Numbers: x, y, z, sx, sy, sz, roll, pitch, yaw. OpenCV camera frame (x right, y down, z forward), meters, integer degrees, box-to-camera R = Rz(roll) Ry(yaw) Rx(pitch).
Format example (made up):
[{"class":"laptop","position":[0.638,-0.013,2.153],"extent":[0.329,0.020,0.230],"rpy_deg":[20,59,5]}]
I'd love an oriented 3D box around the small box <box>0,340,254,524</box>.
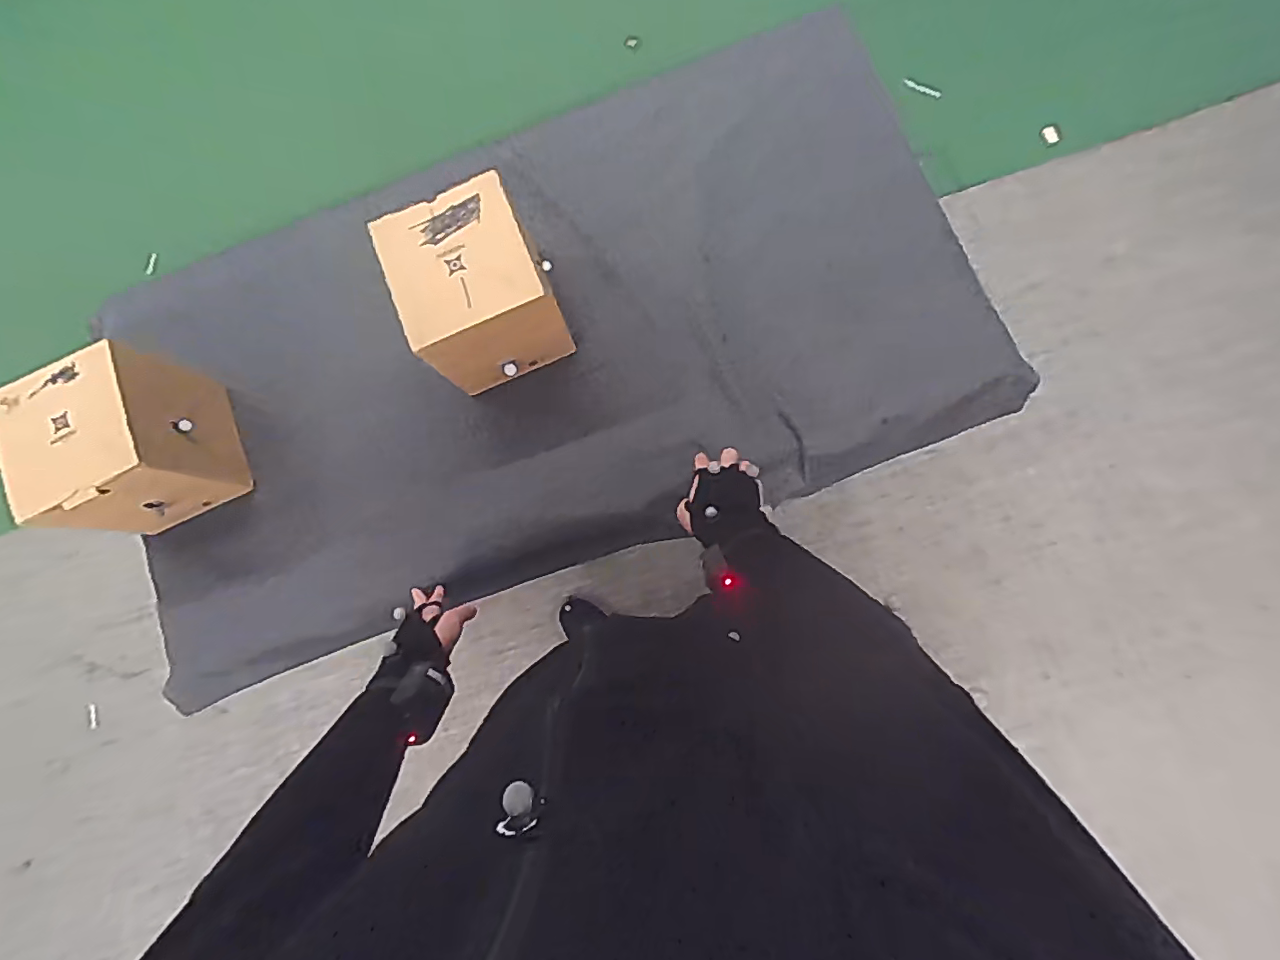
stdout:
[{"class":"small box","position":[-0.662,-0.050,0.717],"extent":[0.168,0.176,0.179],"rpy_deg":[-25,80,2]}]

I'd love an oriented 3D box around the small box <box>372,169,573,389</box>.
[{"class":"small box","position":[-0.203,-0.244,0.696],"extent":[0.168,0.176,0.179],"rpy_deg":[-23,81,3]}]
